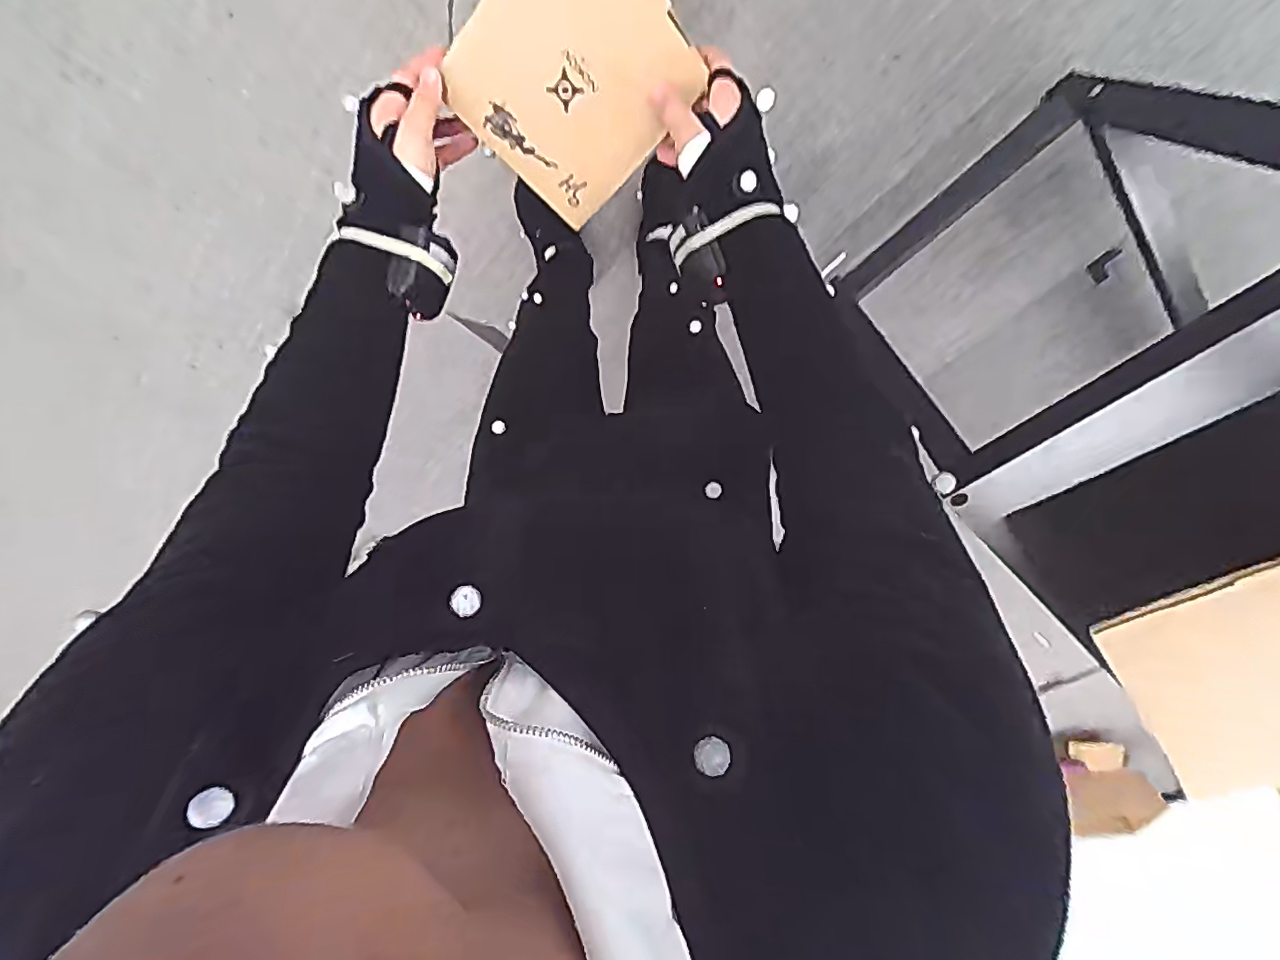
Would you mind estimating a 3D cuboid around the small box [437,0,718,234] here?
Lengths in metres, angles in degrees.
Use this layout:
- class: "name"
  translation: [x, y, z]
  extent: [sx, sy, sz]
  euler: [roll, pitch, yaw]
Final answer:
- class: "small box"
  translation: [-0.058, -0.377, 0.500]
  extent: [0.179, 0.176, 0.168]
  euler: [-37, 127, 25]
